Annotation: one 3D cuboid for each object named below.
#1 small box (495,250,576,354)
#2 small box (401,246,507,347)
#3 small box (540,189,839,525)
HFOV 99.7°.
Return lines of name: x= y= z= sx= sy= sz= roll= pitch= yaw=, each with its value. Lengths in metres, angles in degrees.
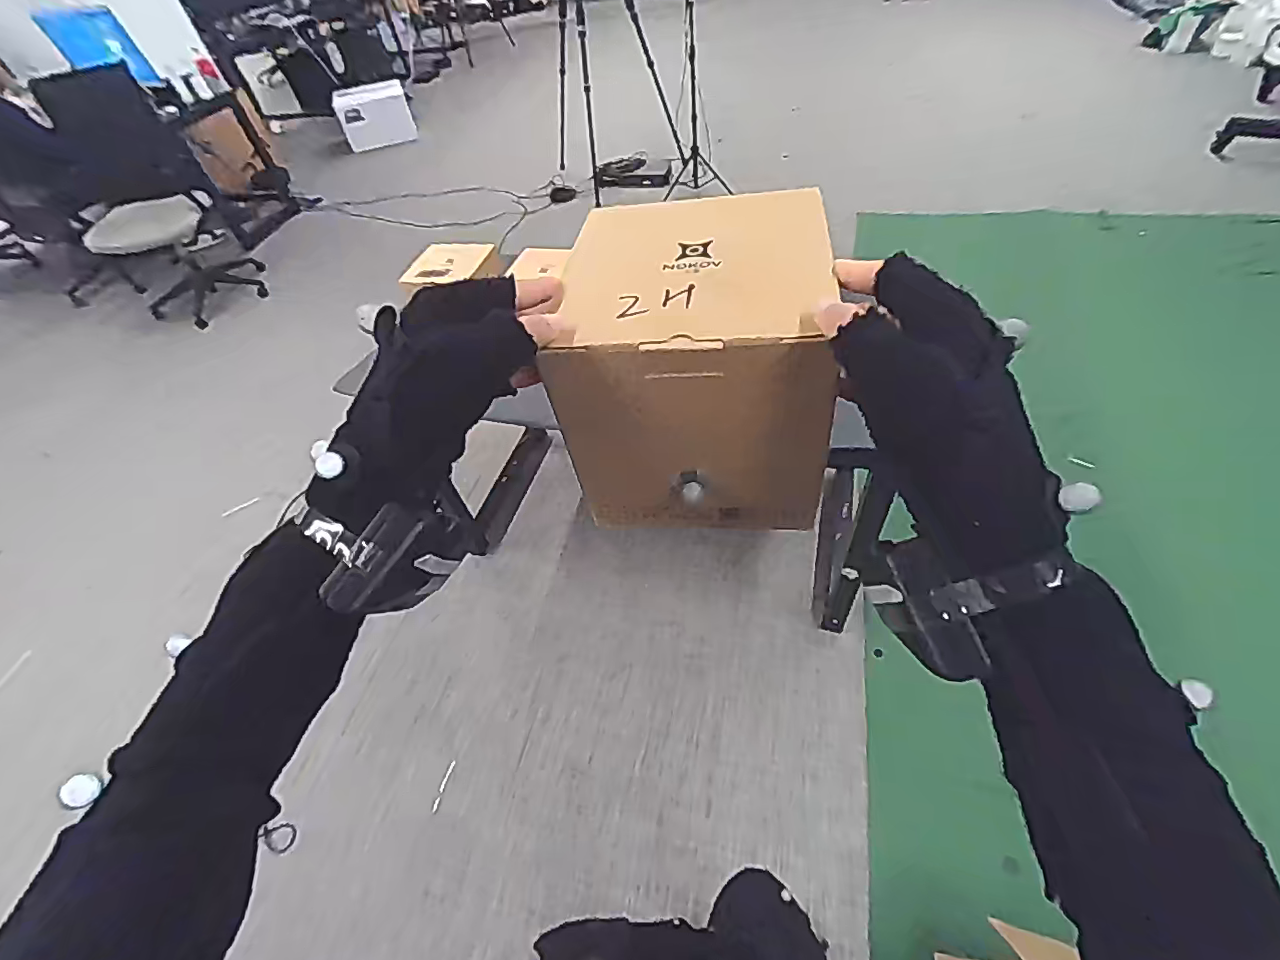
small box: x=-0.193 y=-0.394 z=1.213 sx=0.168 sy=0.176 sz=0.179 roll=7 pitch=51 yaw=14
small box: x=-0.419 y=-0.429 z=1.272 sx=0.168 sy=0.176 sz=0.179 roll=5 pitch=50 yaw=12
small box: x=0.045 y=-0.088 z=0.402 sx=0.168 sy=0.176 sz=0.179 roll=0 pitch=50 yaw=12
